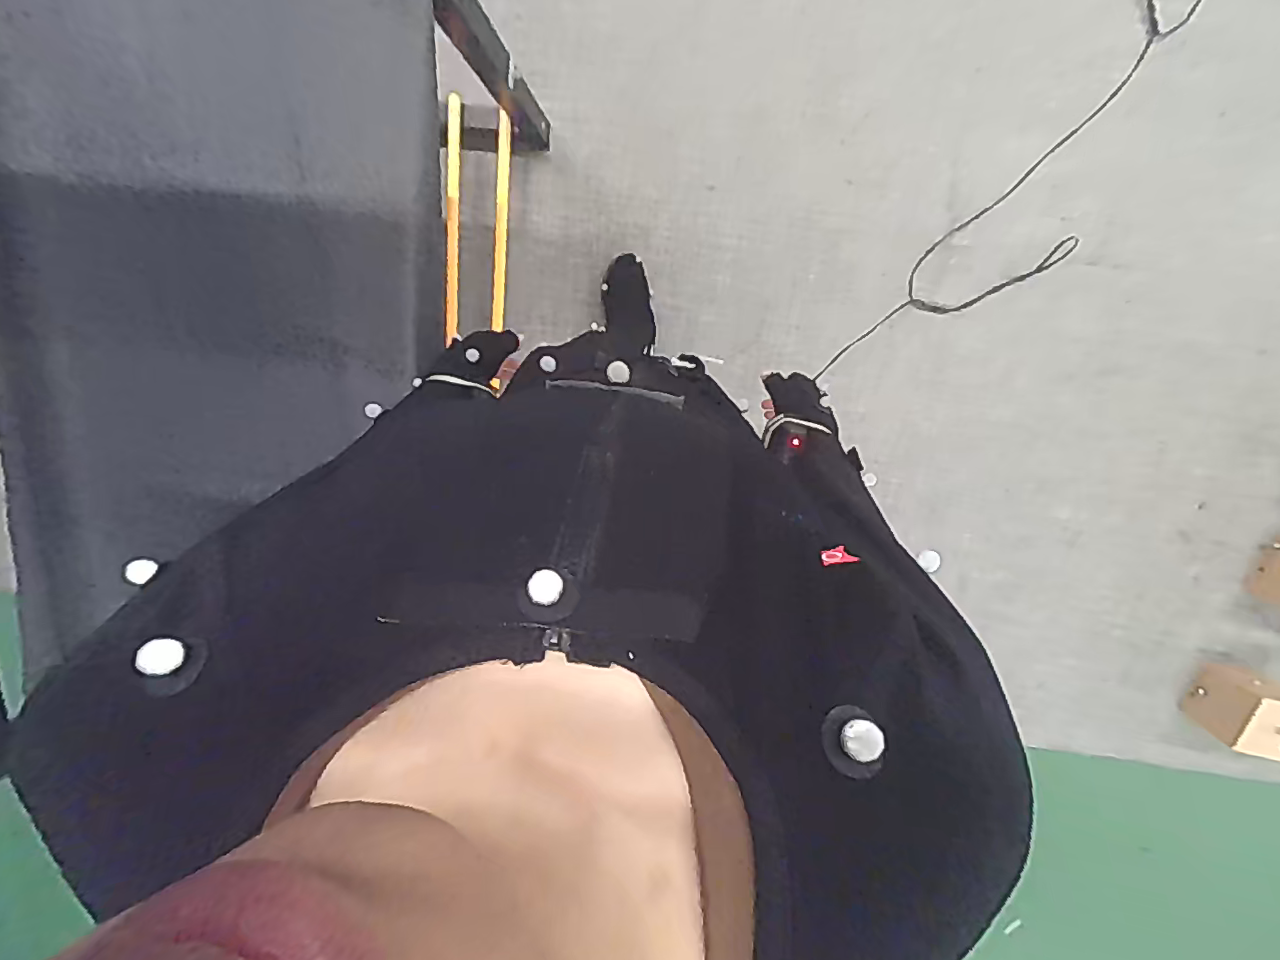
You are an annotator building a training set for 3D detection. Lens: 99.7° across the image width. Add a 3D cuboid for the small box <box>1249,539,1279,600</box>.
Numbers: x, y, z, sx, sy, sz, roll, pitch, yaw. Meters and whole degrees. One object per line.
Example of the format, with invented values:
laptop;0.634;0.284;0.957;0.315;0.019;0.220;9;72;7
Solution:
small box;1.705;0.248;1.339;0.179;0.176;0.168;14;106;-1
